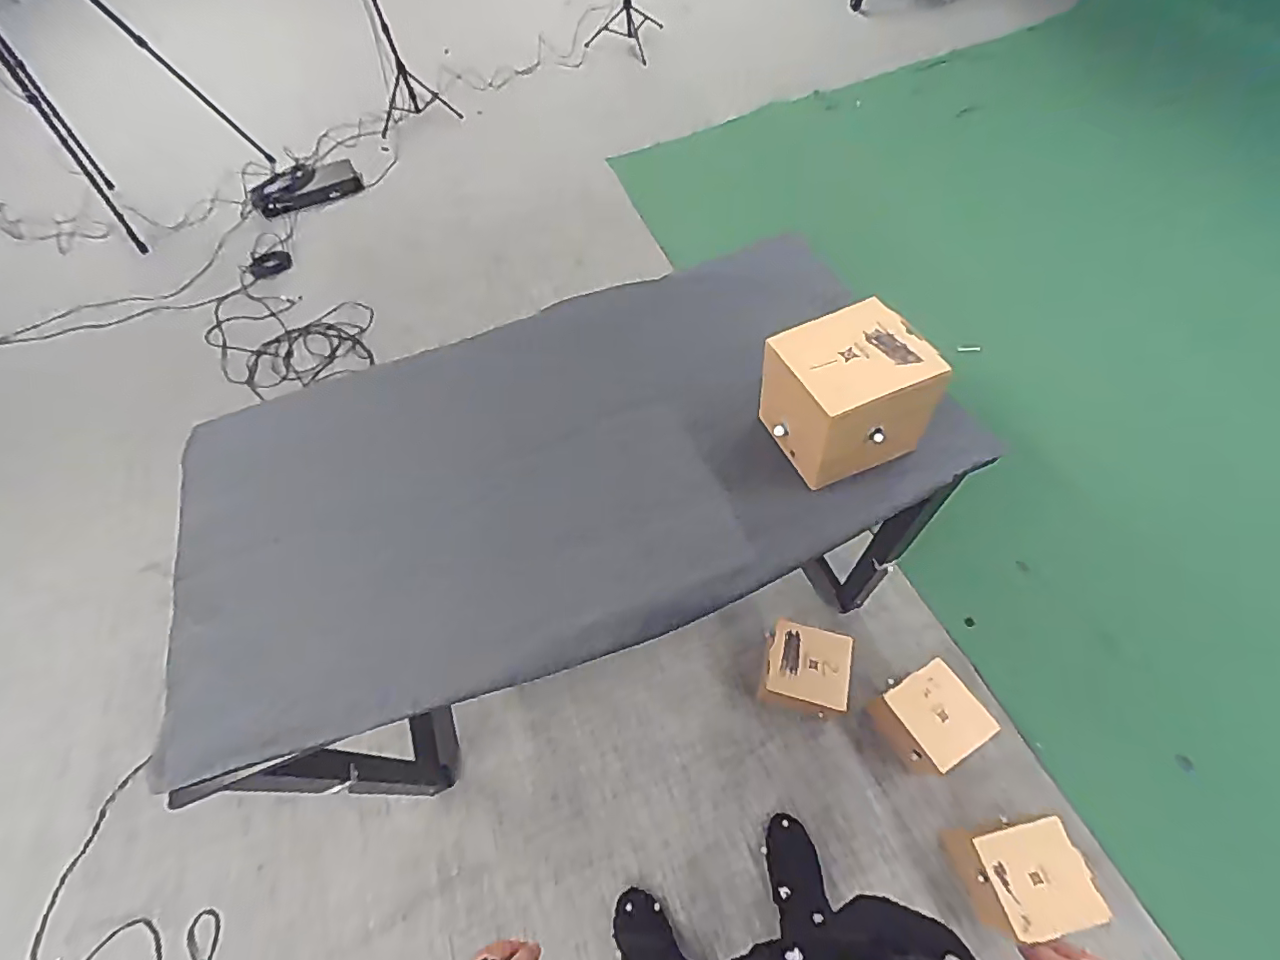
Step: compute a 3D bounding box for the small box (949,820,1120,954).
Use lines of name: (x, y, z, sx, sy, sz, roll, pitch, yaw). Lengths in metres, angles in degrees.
small box: (0.745, 0.772, 1.046, 0.179, 0.176, 0.168, -14, 59, -2)

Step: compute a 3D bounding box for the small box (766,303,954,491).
small box: (0.295, -0.114, 0.773, 0.179, 0.176, 0.168, -22, 55, -5)

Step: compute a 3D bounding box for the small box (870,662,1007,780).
small box: (0.648, 0.537, 1.199, 0.168, 0.176, 0.179, -28, 60, -11)
